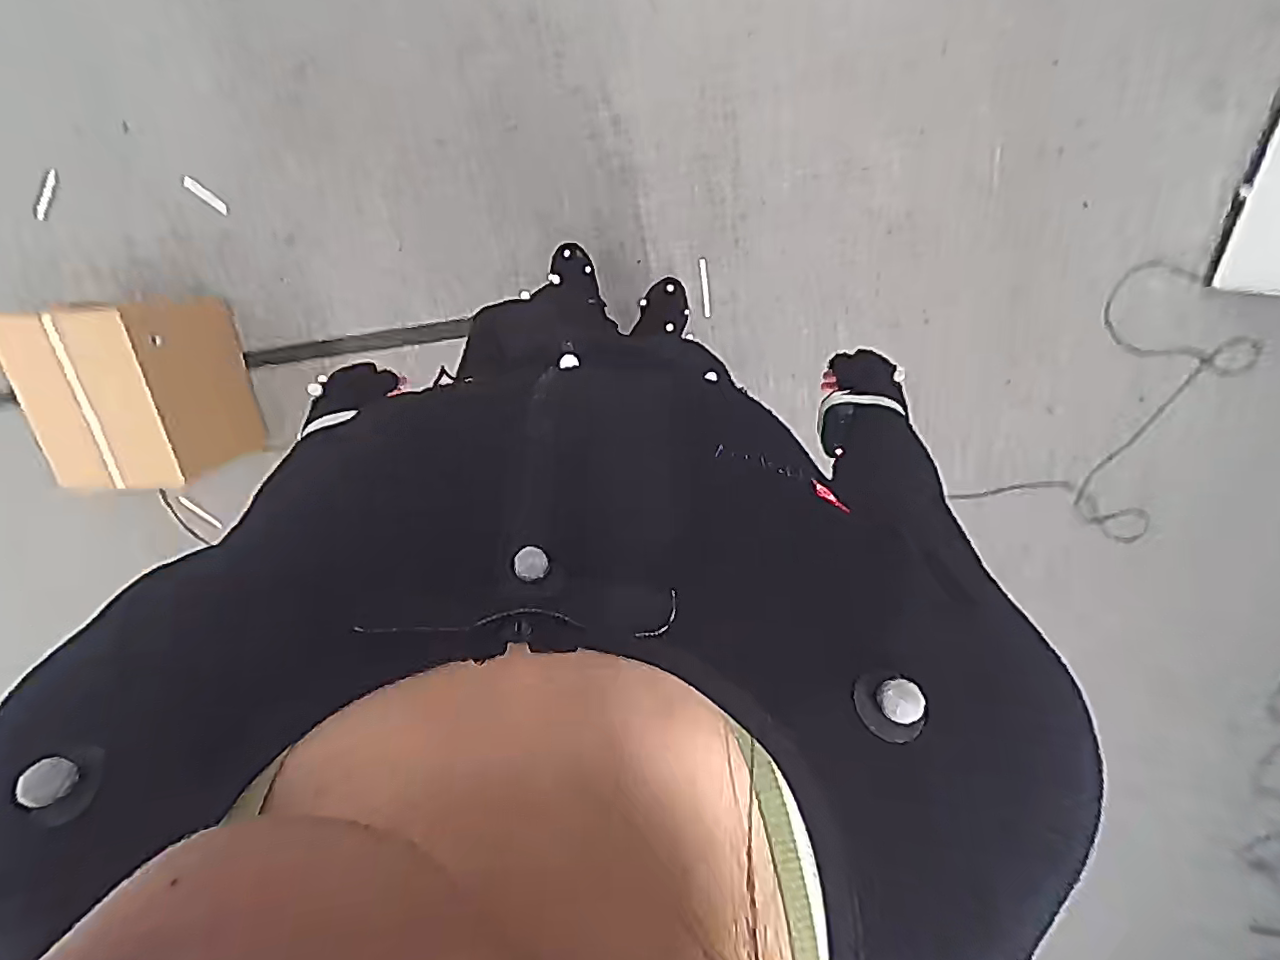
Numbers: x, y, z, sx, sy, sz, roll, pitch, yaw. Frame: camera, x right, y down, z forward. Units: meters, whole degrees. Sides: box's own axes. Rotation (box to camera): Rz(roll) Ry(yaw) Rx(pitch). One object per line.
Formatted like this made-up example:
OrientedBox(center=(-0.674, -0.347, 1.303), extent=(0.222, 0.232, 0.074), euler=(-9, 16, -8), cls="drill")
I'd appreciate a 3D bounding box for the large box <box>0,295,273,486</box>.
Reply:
OrientedBox(center=(-1.206, -0.231, 1.340), extent=(0.320, 0.320, 0.408), euler=(-1, 114, 2), cls="large box")
